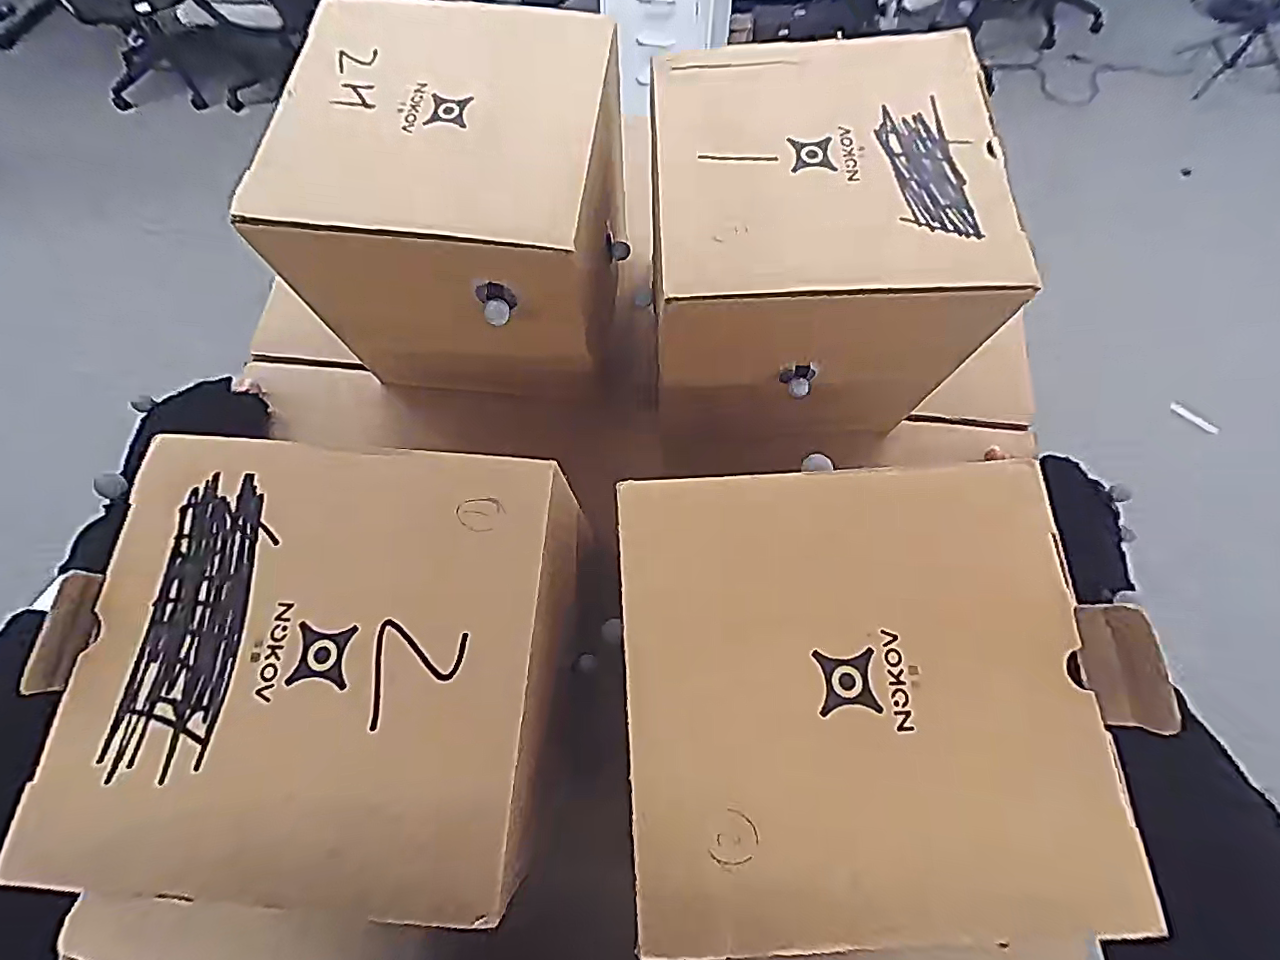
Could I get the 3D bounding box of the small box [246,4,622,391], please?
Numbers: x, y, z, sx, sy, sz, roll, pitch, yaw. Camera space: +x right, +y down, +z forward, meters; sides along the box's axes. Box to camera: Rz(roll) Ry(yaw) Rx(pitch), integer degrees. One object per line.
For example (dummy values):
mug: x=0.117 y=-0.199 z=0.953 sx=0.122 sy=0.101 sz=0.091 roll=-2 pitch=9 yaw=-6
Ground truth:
small box: x=-0.109 y=-0.177 z=0.378 sx=0.179 sy=0.176 sz=0.168 roll=7 pitch=71 yaw=3
